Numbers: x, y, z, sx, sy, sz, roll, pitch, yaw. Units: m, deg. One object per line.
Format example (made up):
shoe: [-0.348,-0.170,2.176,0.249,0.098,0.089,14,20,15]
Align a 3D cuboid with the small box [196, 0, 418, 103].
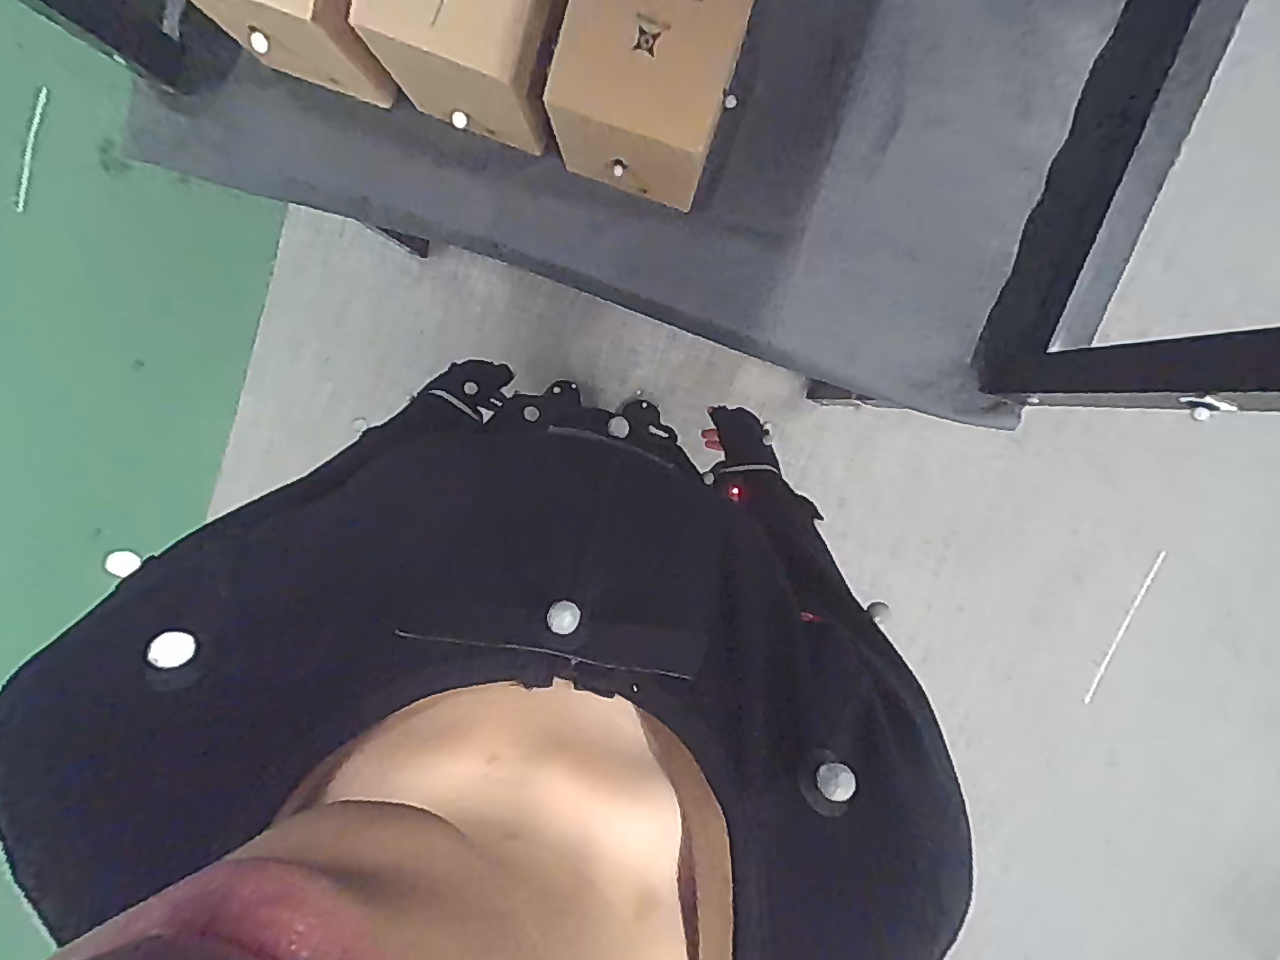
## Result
small box: [-0.360,-0.554,0.580,0.168,0.176,0.179,18,98,-2]
